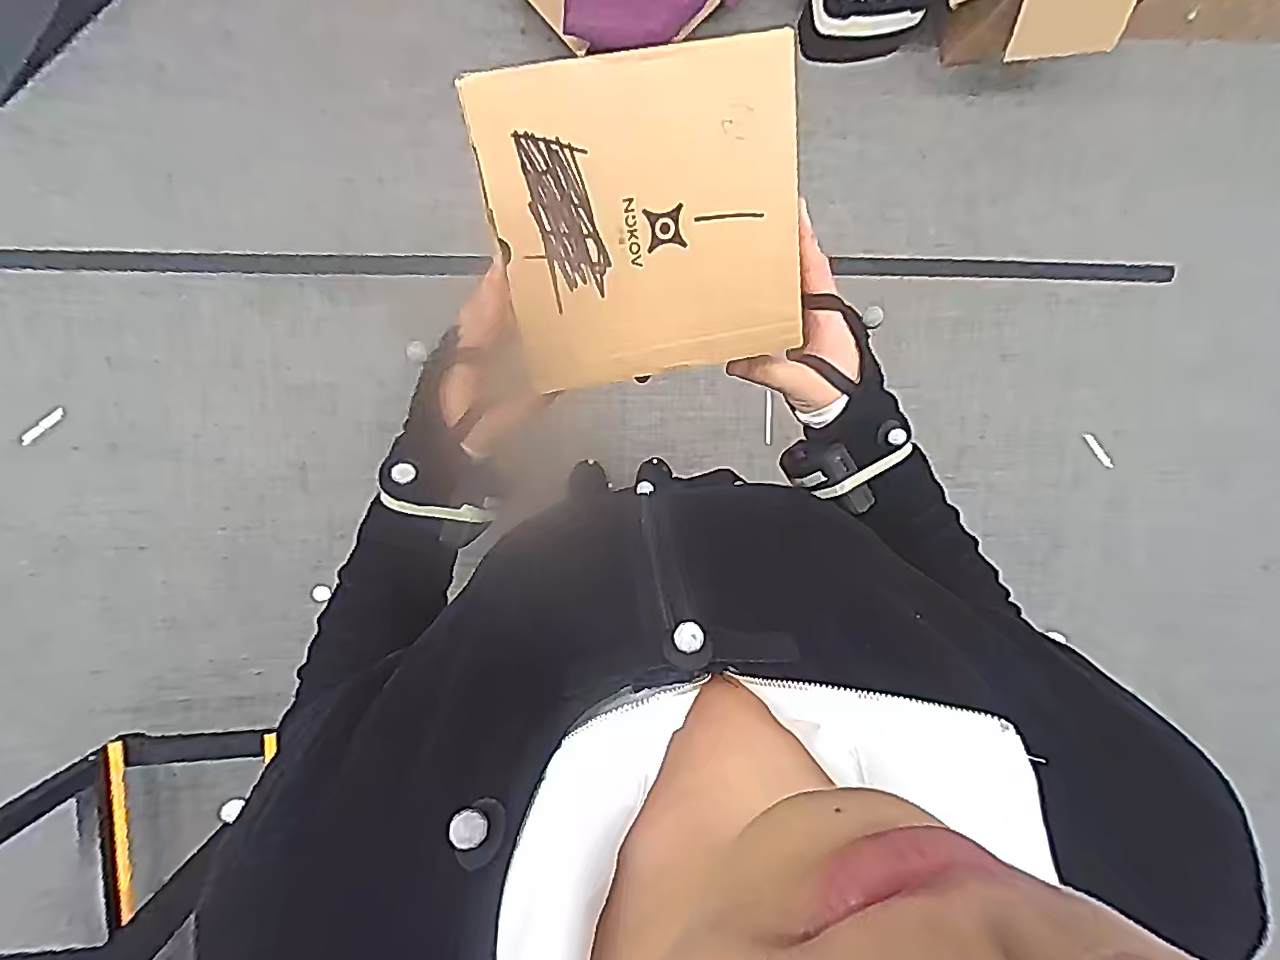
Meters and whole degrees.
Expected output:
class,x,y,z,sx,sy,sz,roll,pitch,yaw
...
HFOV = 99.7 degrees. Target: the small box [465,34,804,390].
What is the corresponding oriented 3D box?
class,x,y,z,sx,sy,sz,roll,pitch,yaw
small box,-0.002,-0.172,0.376,0.179,0.176,0.168,-10,114,-4
